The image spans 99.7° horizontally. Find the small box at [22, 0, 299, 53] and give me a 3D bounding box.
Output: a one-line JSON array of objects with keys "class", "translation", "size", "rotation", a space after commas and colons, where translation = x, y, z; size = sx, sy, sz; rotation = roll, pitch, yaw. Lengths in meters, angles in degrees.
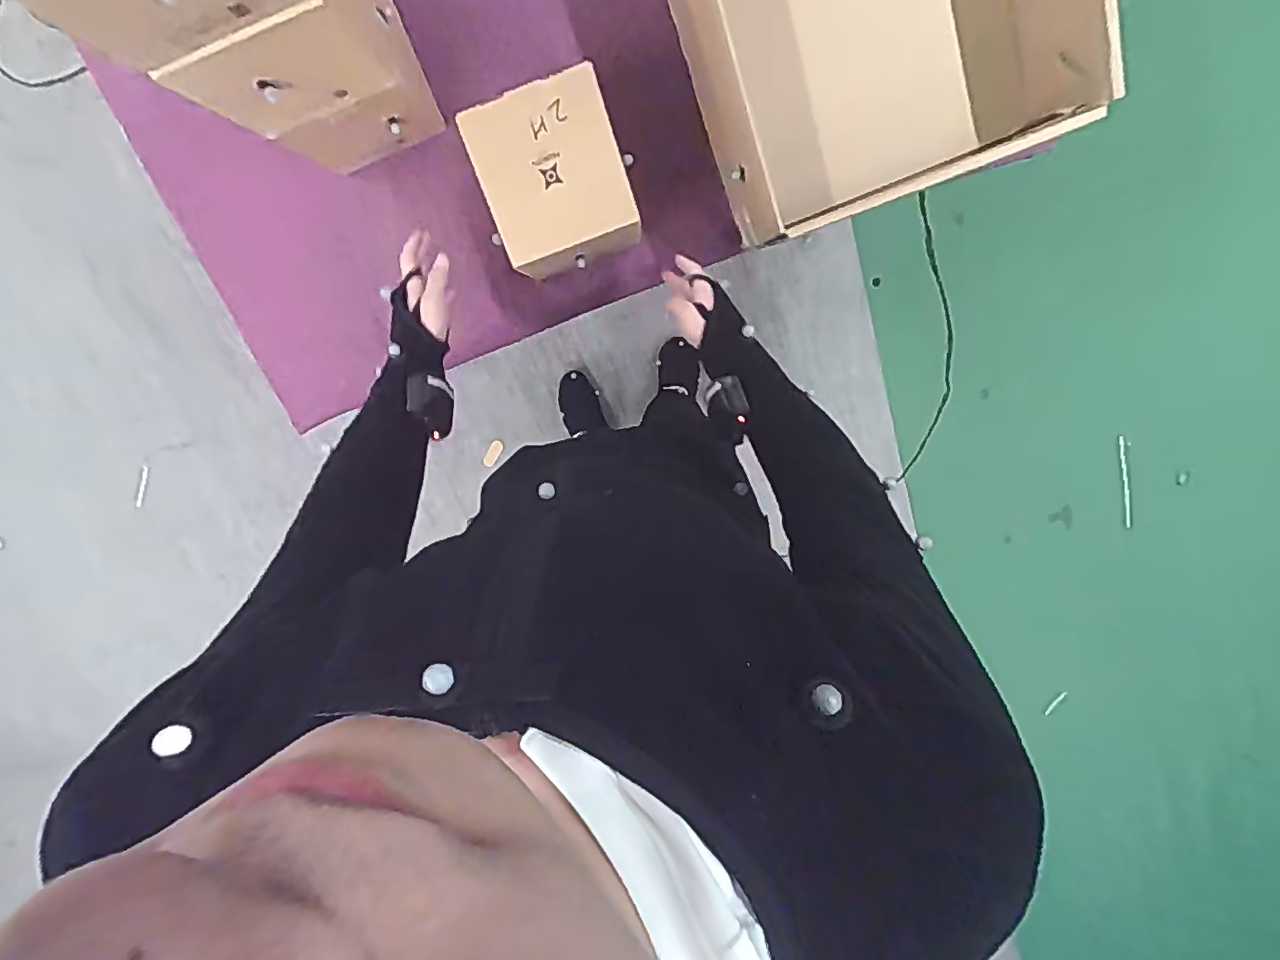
[{"class": "small box", "translation": [-0.364, -0.424, 0.350], "size": [0.168, 0.176, 0.179], "rotation": [-21, 106, 4]}]

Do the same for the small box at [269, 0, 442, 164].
[{"class": "small box", "translation": [-0.371, -0.515, 0.663], "size": [0.168, 0.176, 0.179], "rotation": [-20, 106, 4]}]

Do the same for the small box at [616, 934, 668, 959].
[{"class": "small box", "translation": [0.005, 1.611, 1.734], "size": [0.168, 0.176, 0.179], "rotation": [0, 105, -1]}]

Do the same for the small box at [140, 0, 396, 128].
[{"class": "small box", "translation": [-0.367, -0.466, 0.509], "size": [0.168, 0.176, 0.179], "rotation": [-20, 105, 4]}]
